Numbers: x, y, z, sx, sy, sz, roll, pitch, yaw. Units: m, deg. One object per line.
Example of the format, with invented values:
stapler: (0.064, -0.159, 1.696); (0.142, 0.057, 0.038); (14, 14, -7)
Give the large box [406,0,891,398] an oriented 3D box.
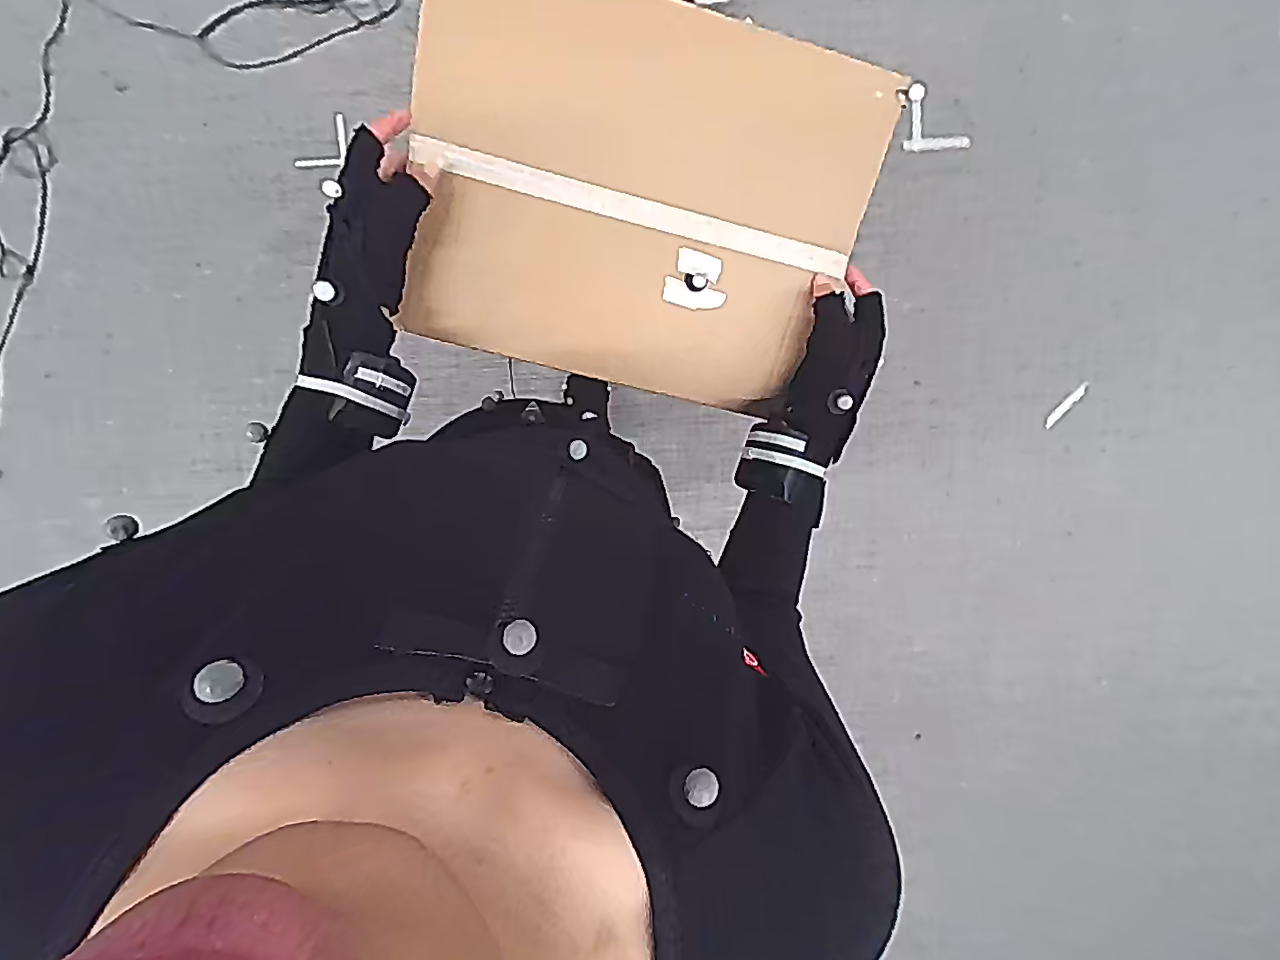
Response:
large box: (-0.012, -0.308, 0.635); (0.408, 0.320, 0.320); (11, 110, -7)
